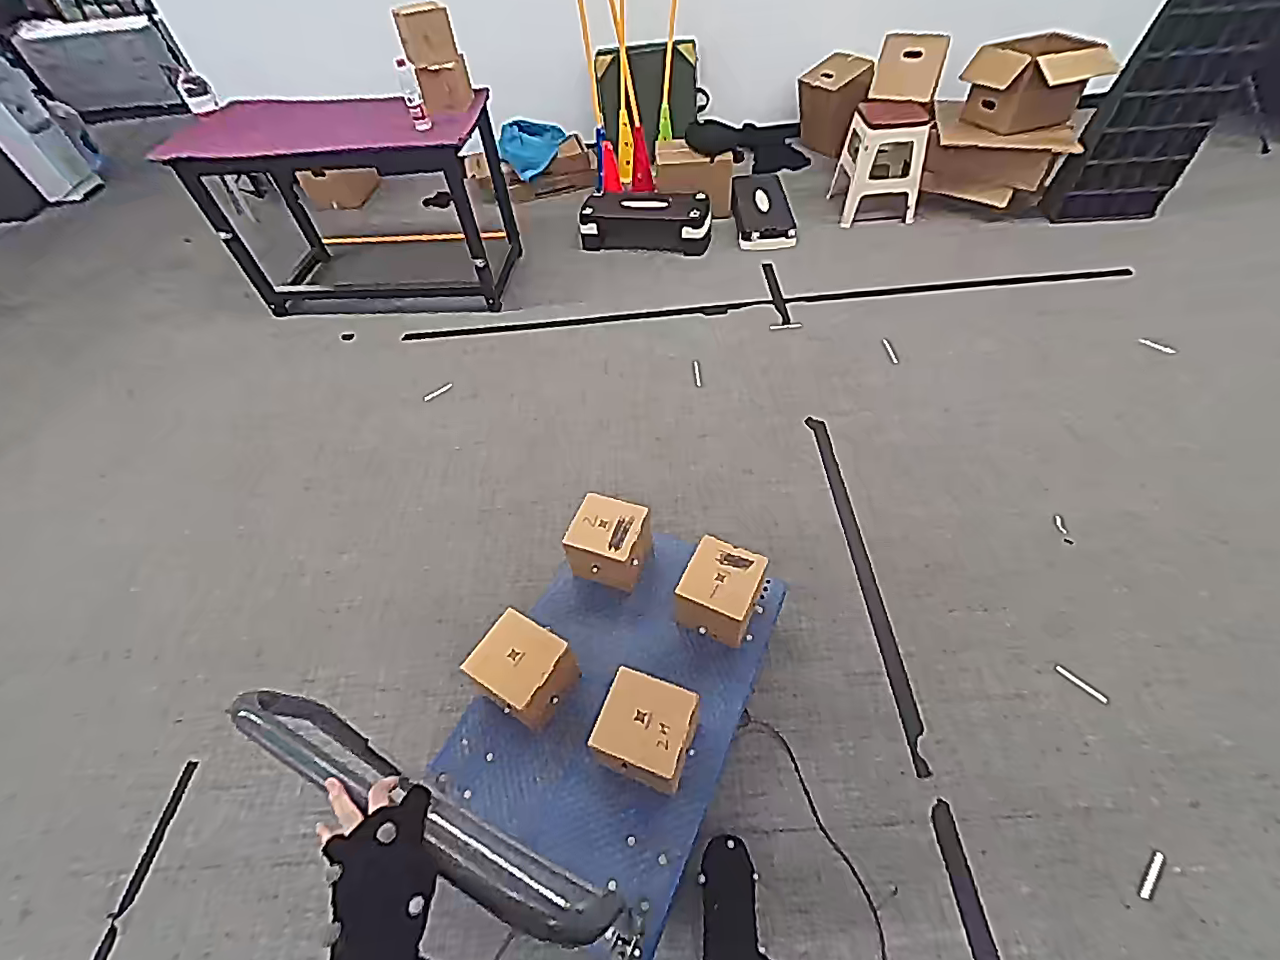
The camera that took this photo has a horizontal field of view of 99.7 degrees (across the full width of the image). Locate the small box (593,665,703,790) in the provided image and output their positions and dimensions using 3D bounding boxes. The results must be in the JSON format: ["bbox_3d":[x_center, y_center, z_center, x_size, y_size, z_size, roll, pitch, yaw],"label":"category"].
[{"bbox_3d":[0.023,0.518,1.123,0.179,0.176,0.168,15,54,17],"label":"small box"}]

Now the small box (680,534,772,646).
[{"bbox_3d":[0.204,0.268,1.308,0.168,0.176,0.179,20,57,20],"label":"small box"}]

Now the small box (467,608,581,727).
[{"bbox_3d":[-0.254,0.428,1.224,0.179,0.176,0.168,24,57,21],"label":"small box"}]
